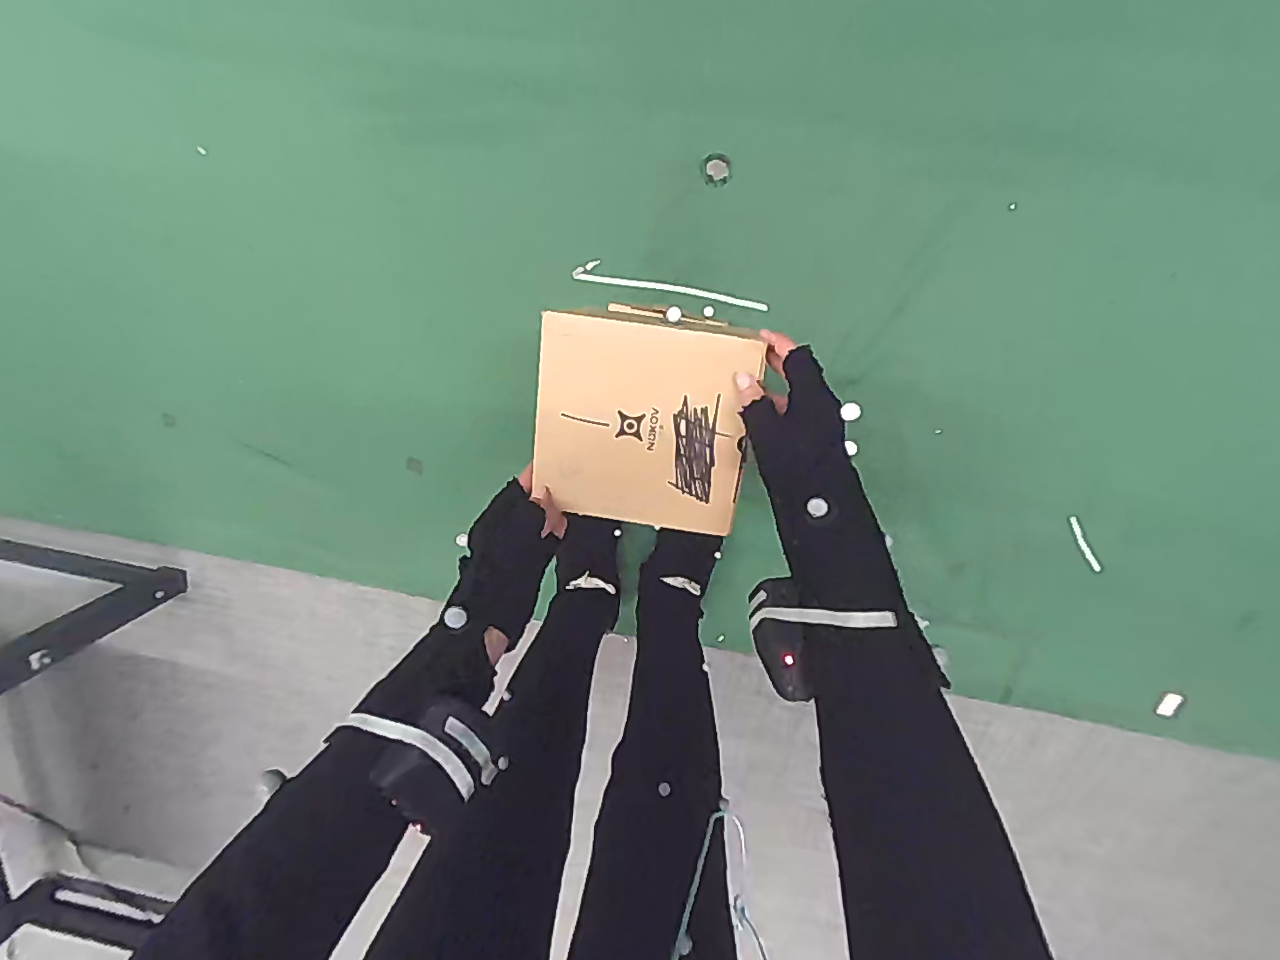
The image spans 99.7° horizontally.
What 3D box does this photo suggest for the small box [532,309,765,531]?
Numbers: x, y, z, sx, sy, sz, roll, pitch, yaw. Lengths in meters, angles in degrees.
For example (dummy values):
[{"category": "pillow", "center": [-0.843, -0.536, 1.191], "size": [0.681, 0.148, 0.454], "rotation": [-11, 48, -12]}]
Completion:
[{"category": "small box", "center": [0.010, -0.069, 0.517], "size": [0.179, 0.176, 0.168], "rotation": [9, 109, 5]}]
